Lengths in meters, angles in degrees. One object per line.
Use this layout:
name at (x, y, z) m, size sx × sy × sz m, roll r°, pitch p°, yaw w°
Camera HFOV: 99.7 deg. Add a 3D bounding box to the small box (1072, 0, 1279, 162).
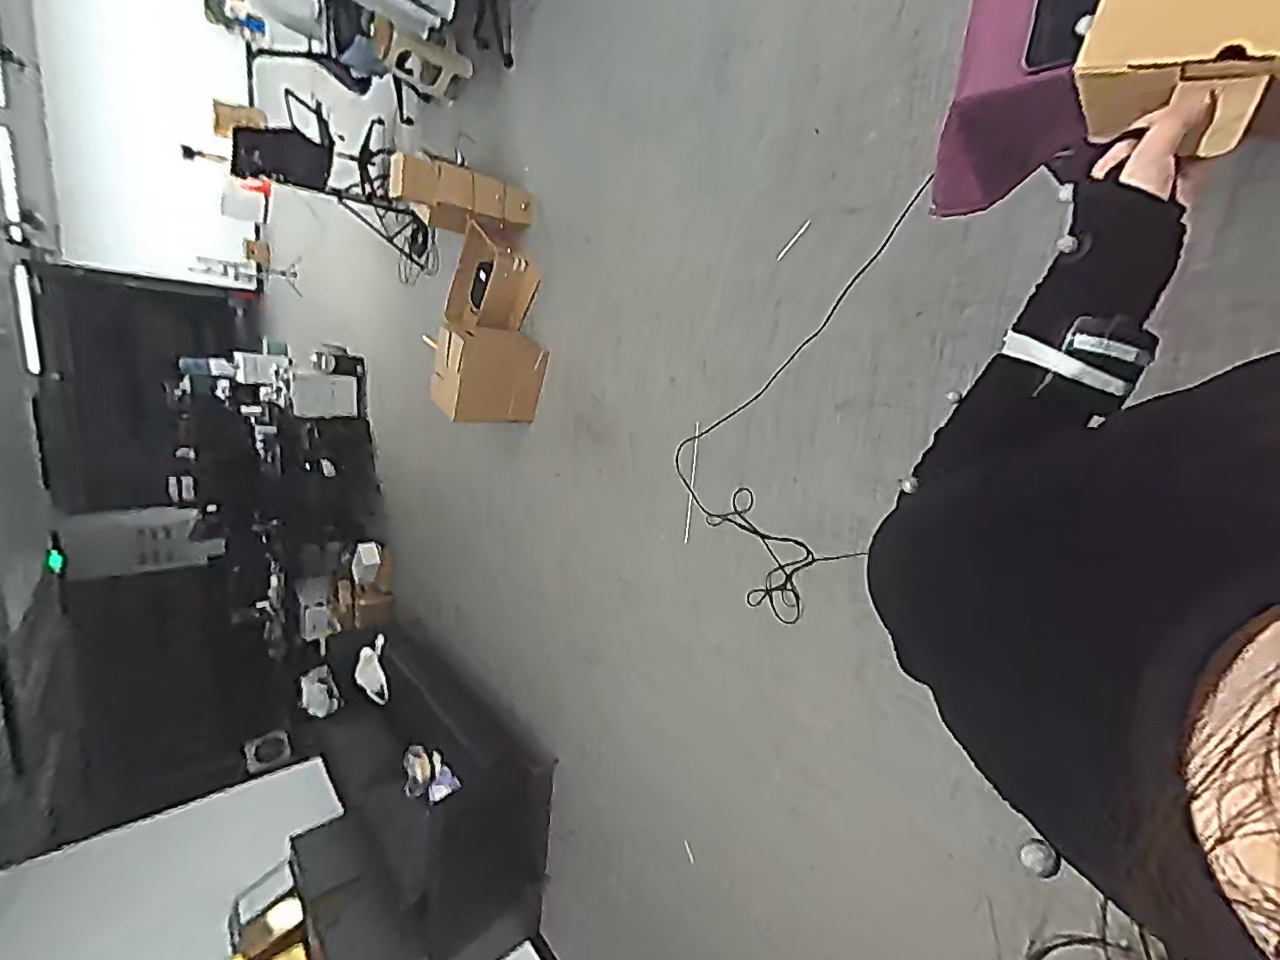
small box at (0.447, -0.352, 0.385) m, size 0.168 × 0.176 × 0.179 m, roll 28°, pitch 117°, yaw 35°
